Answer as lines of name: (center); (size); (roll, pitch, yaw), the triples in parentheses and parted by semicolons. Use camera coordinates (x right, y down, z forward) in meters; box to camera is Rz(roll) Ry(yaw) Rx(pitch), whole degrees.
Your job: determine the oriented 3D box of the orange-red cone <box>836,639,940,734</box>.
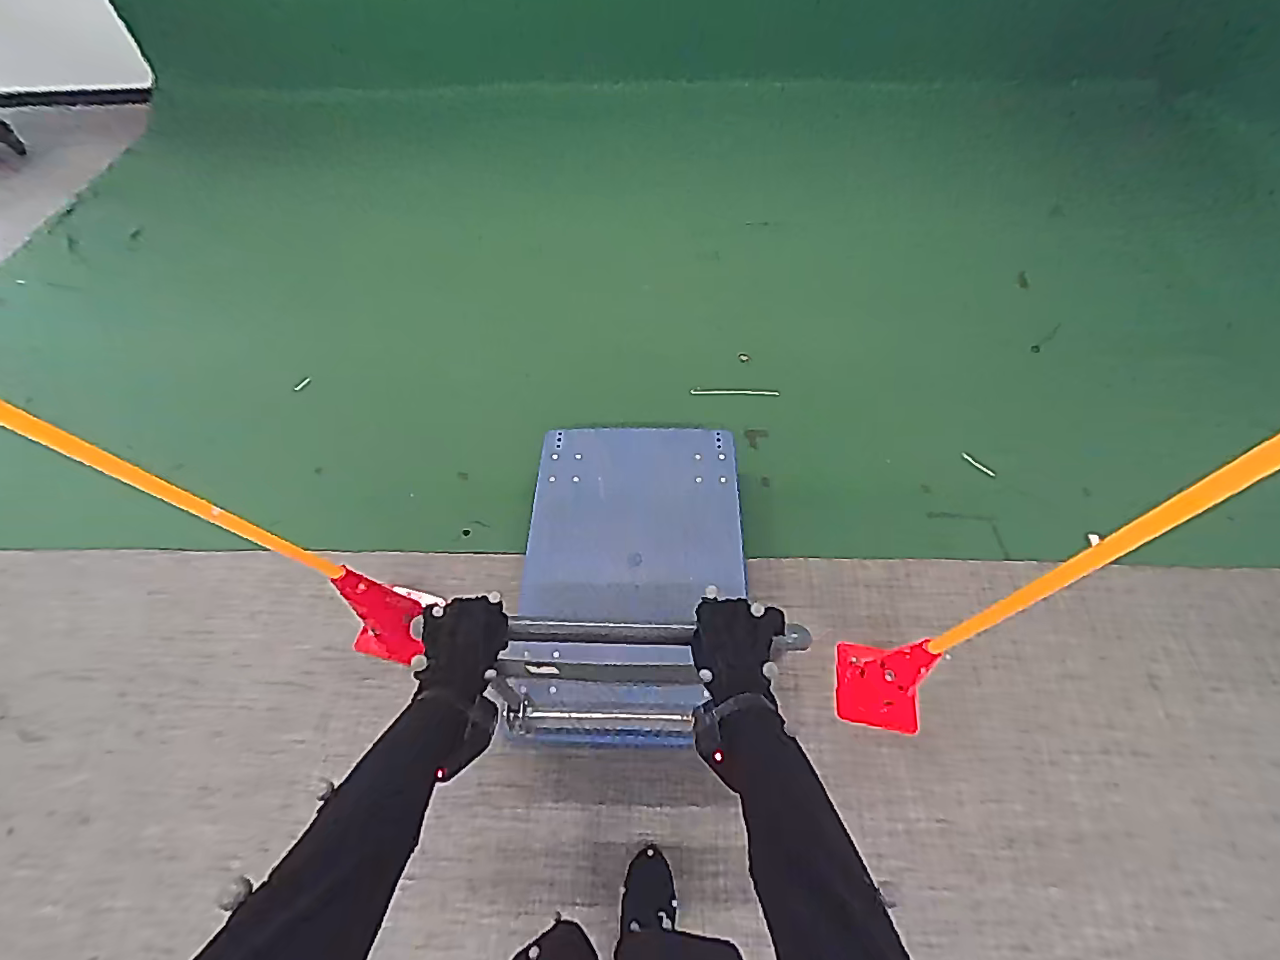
orange-red cone: (0.597, 0.435, 1.236); (0.198, 0.360, 0.199); (10, 59, 9)
